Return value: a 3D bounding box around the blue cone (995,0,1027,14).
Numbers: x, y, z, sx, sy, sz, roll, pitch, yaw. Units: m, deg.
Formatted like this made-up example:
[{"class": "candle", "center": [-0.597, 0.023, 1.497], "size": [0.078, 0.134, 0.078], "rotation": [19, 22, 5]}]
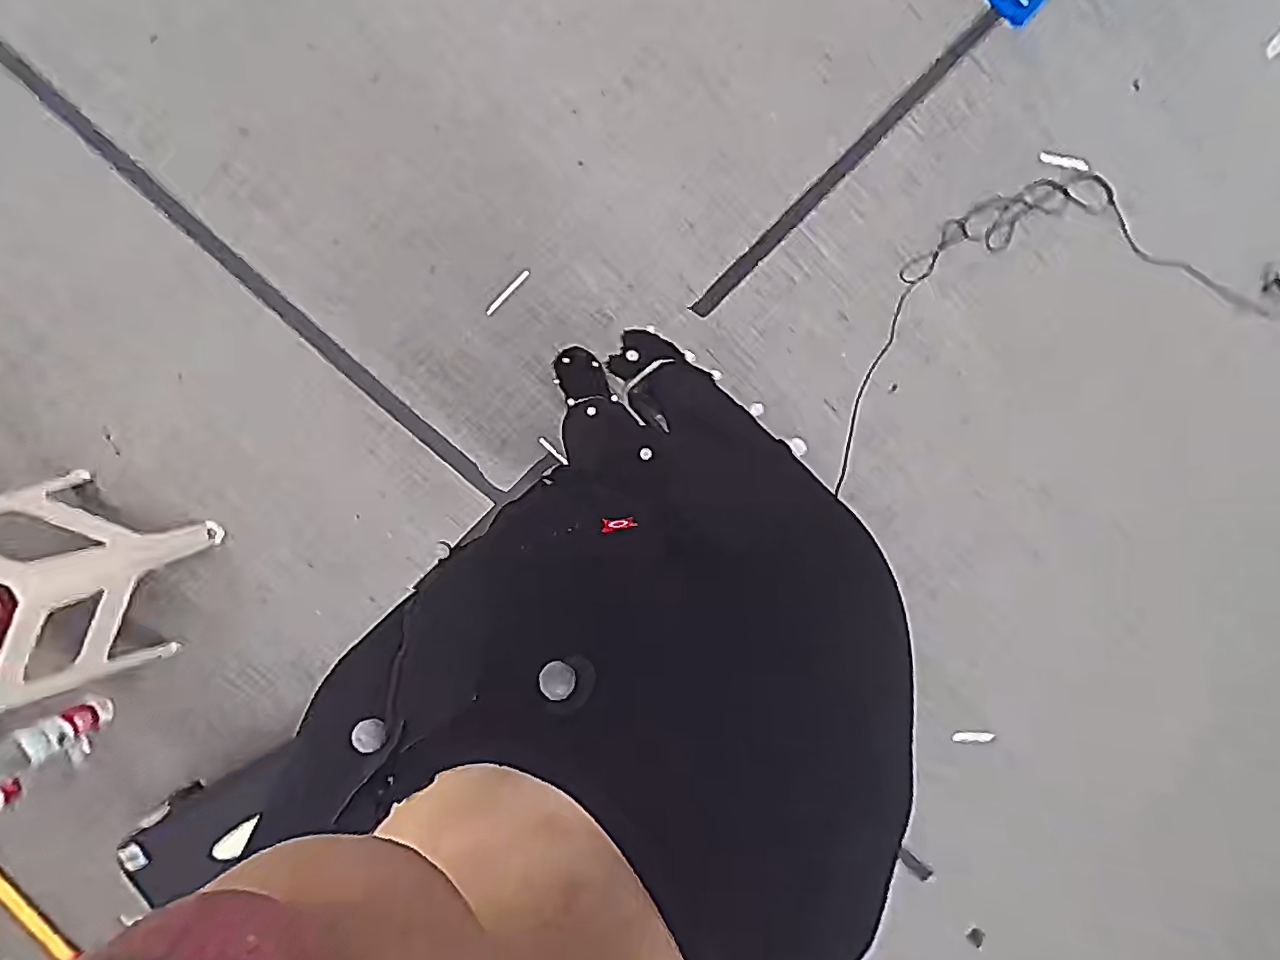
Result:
[{"class": "blue cone", "center": [0.971, -1.319, 1.239], "size": [0.192, 0.380, 0.193], "rotation": [40, 91, -7]}]
